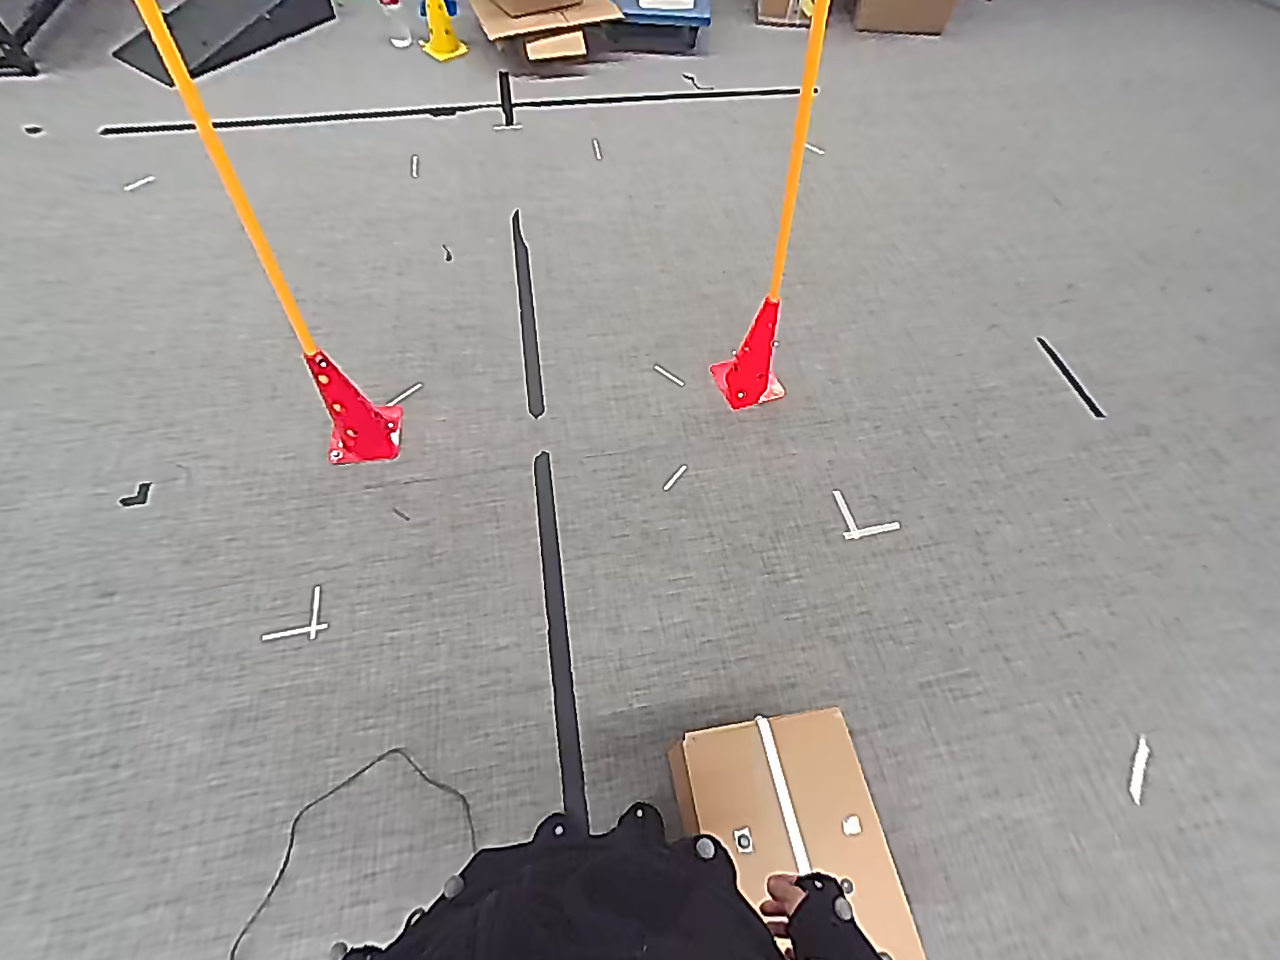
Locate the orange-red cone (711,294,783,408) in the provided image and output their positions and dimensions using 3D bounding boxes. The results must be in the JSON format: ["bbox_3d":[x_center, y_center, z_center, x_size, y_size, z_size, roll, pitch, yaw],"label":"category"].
[{"bbox_3d":[0.364,-0.414,1.645,0.199,0.360,0.198,-15,63,-13],"label":"orange-red cone"}]
